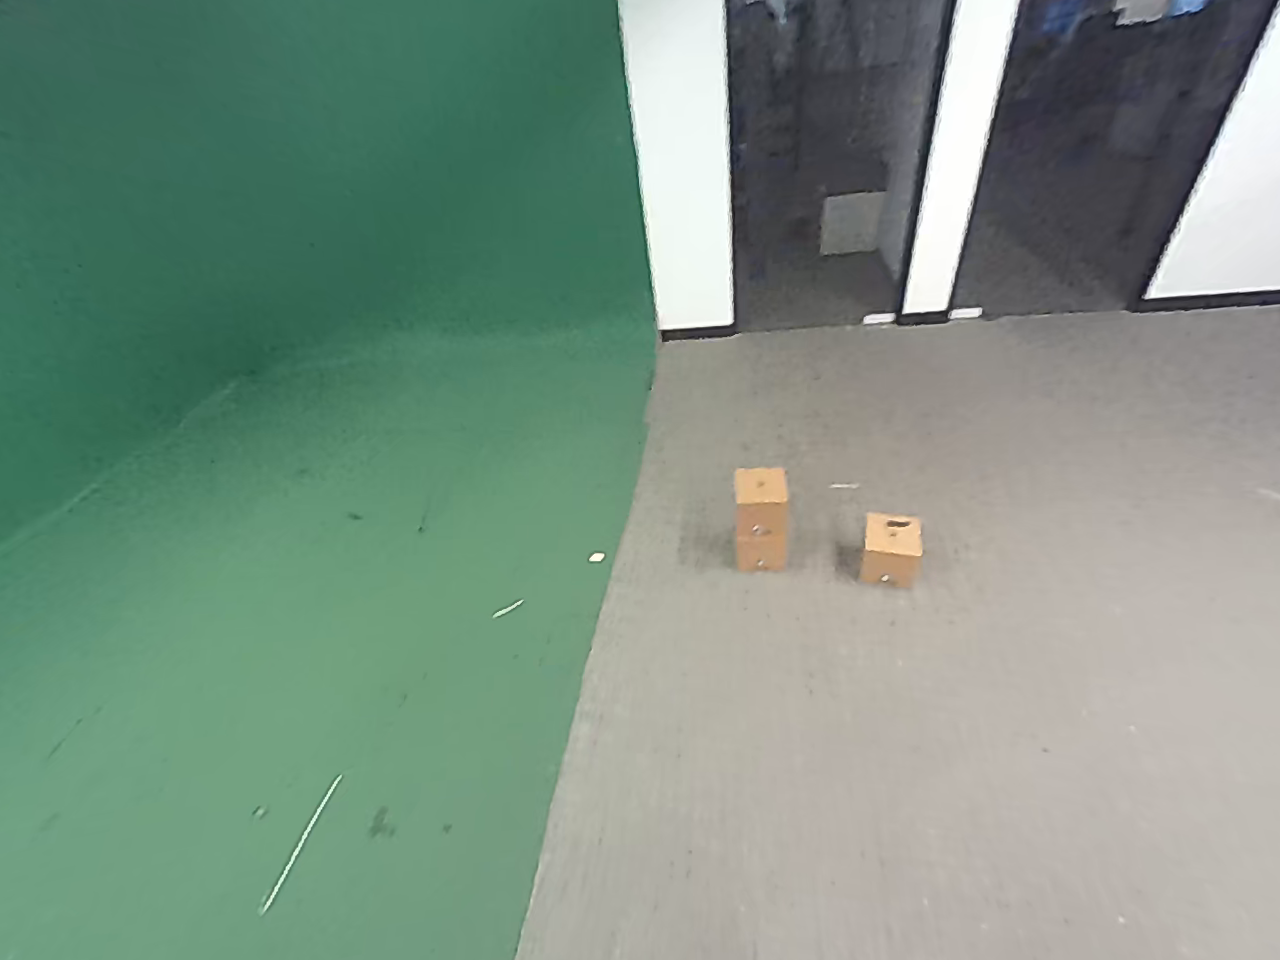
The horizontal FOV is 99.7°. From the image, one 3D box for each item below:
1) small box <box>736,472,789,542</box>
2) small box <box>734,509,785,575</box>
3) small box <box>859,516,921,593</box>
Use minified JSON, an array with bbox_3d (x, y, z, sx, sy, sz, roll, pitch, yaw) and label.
[{"bbox_3d":[0.411,0.092,1.832,0.168,0.176,0.179,-3,37,11],"label":"small box"},{"bbox_3d":[0.423,0.218,1.930,0.168,0.176,0.179,-2,39,8],"label":"small box"},{"bbox_3d":[0.832,0.249,1.807,0.168,0.176,0.179,7,42,19],"label":"small box"}]
